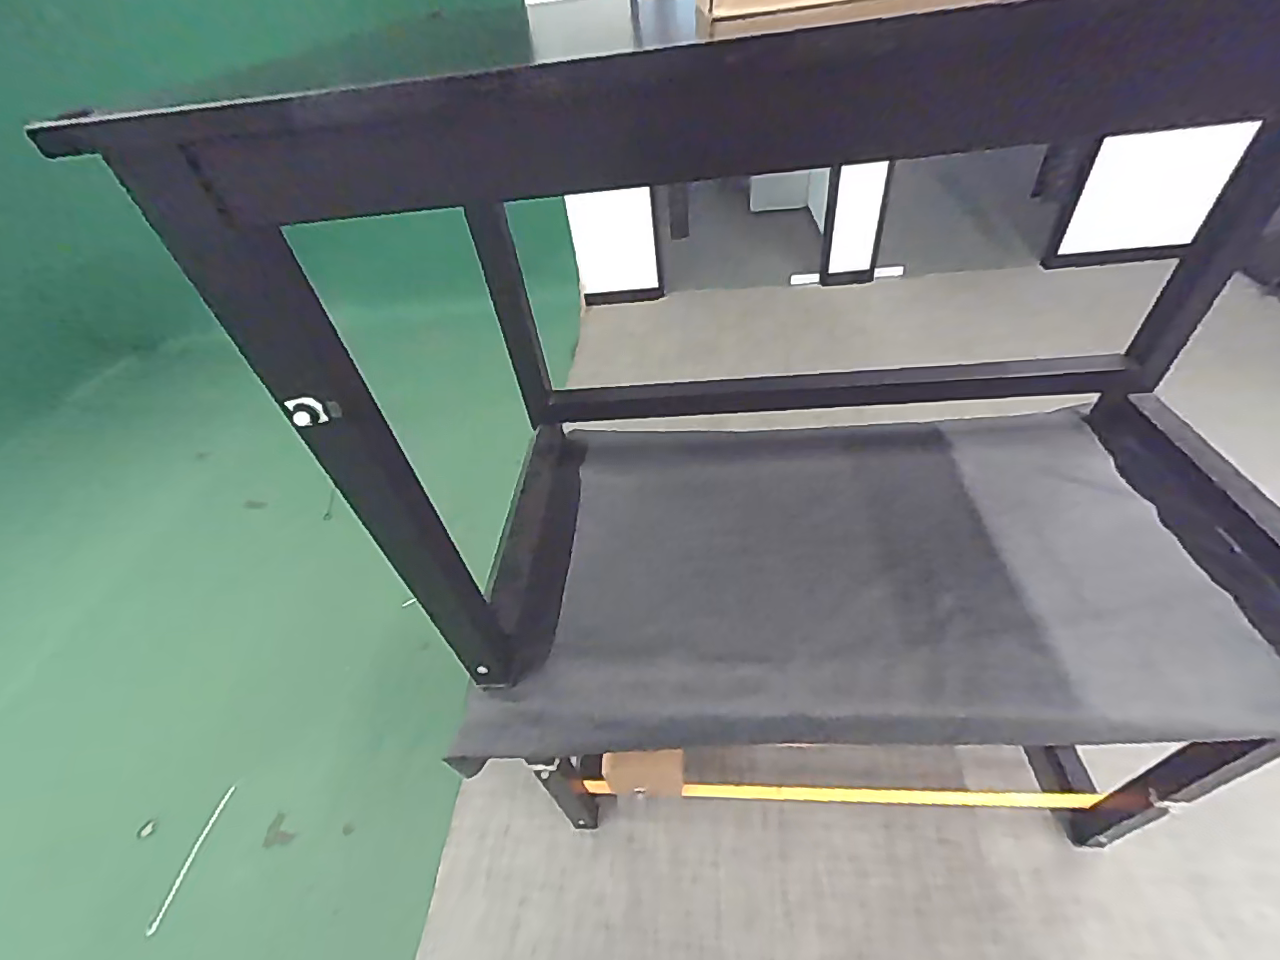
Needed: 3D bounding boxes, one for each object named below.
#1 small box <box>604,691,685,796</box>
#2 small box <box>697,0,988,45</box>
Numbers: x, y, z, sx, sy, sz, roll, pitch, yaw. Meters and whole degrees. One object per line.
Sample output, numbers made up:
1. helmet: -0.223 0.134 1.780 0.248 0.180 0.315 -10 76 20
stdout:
1. small box: 0.017 0.612 1.258 0.168 0.176 0.179 -3 46 7
2. small box: 0.118 -0.381 0.324 0.168 0.176 0.179 -3 45 5
